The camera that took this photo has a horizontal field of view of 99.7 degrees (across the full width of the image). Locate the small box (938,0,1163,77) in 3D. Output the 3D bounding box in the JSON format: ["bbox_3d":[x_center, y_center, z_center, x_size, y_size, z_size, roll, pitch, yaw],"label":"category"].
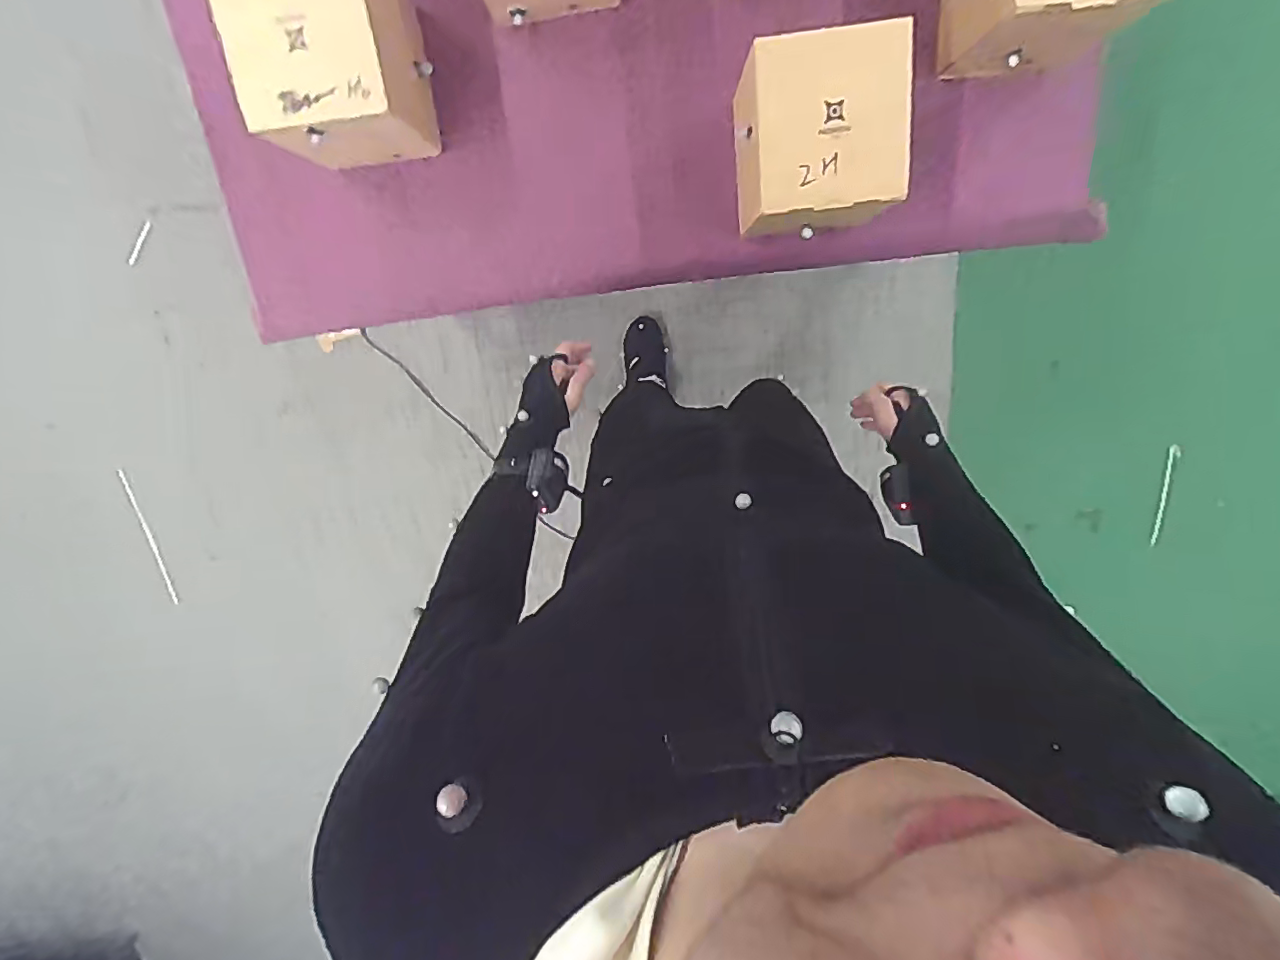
[{"bbox_3d":[0.461,-0.596,0.609,0.168,0.176,0.179,-4,107,3],"label":"small box"}]

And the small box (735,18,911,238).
[{"bbox_3d":[0.213,-0.415,0.668,0.168,0.176,0.179,-5,105,4],"label":"small box"}]

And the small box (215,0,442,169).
[{"bbox_3d":[-0.363,-0.504,0.655,0.168,0.176,0.179,-5,106,4],"label":"small box"}]

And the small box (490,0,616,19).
[{"bbox_3d":[-0.117,-0.661,0.604,0.168,0.176,0.179,-7,106,4],"label":"small box"}]
